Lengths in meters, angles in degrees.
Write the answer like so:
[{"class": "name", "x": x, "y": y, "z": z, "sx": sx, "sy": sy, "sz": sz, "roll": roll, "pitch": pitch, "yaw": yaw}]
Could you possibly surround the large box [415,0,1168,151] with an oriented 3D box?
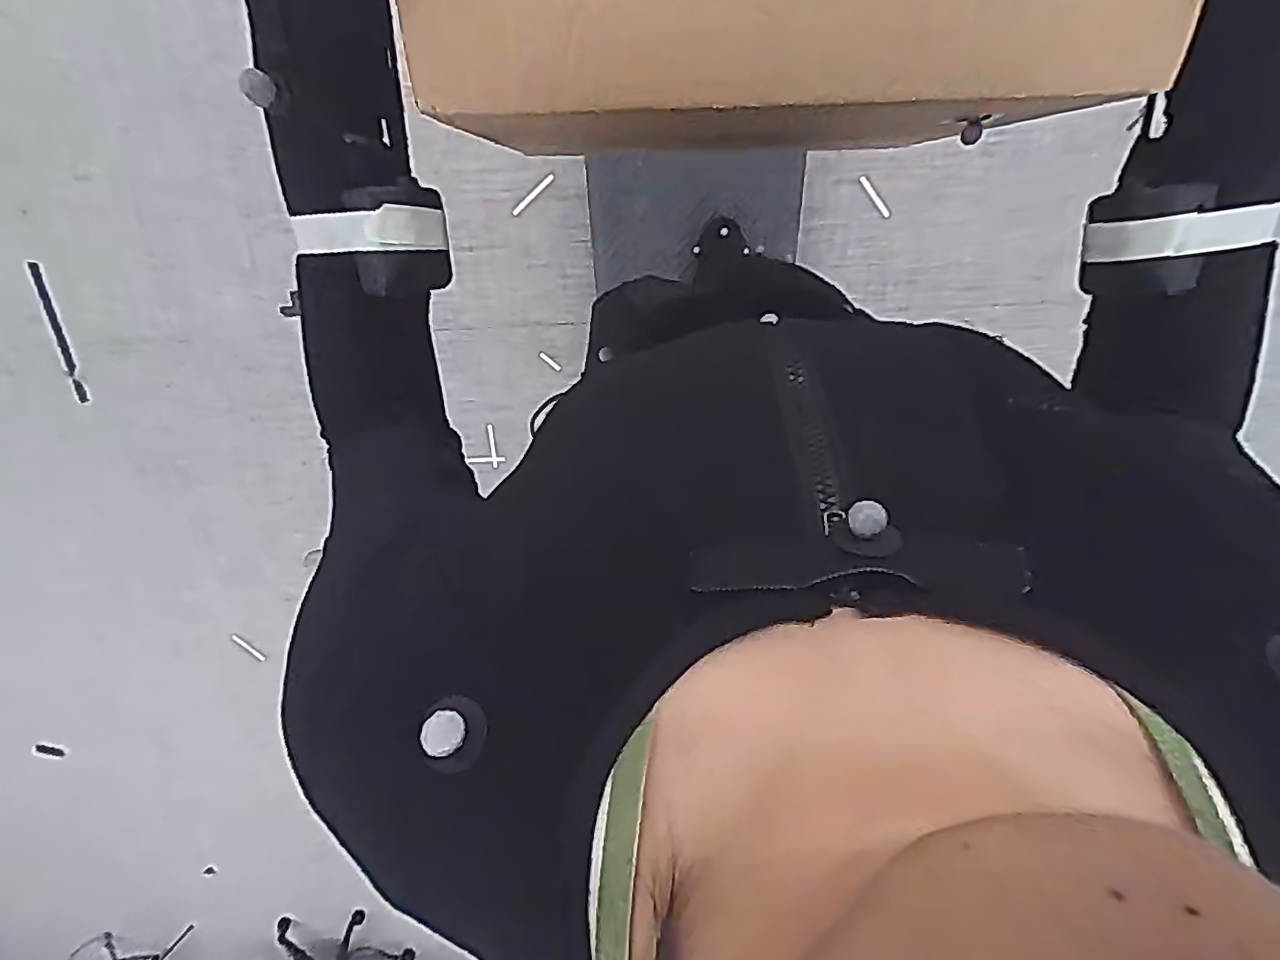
[{"class": "large box", "x": 0.076, "y": -0.417, "z": 0.364, "sx": 0.408, "sy": 0.320, "sz": 0.320, "roll": -2, "pitch": 117, "yaw": 1}]
